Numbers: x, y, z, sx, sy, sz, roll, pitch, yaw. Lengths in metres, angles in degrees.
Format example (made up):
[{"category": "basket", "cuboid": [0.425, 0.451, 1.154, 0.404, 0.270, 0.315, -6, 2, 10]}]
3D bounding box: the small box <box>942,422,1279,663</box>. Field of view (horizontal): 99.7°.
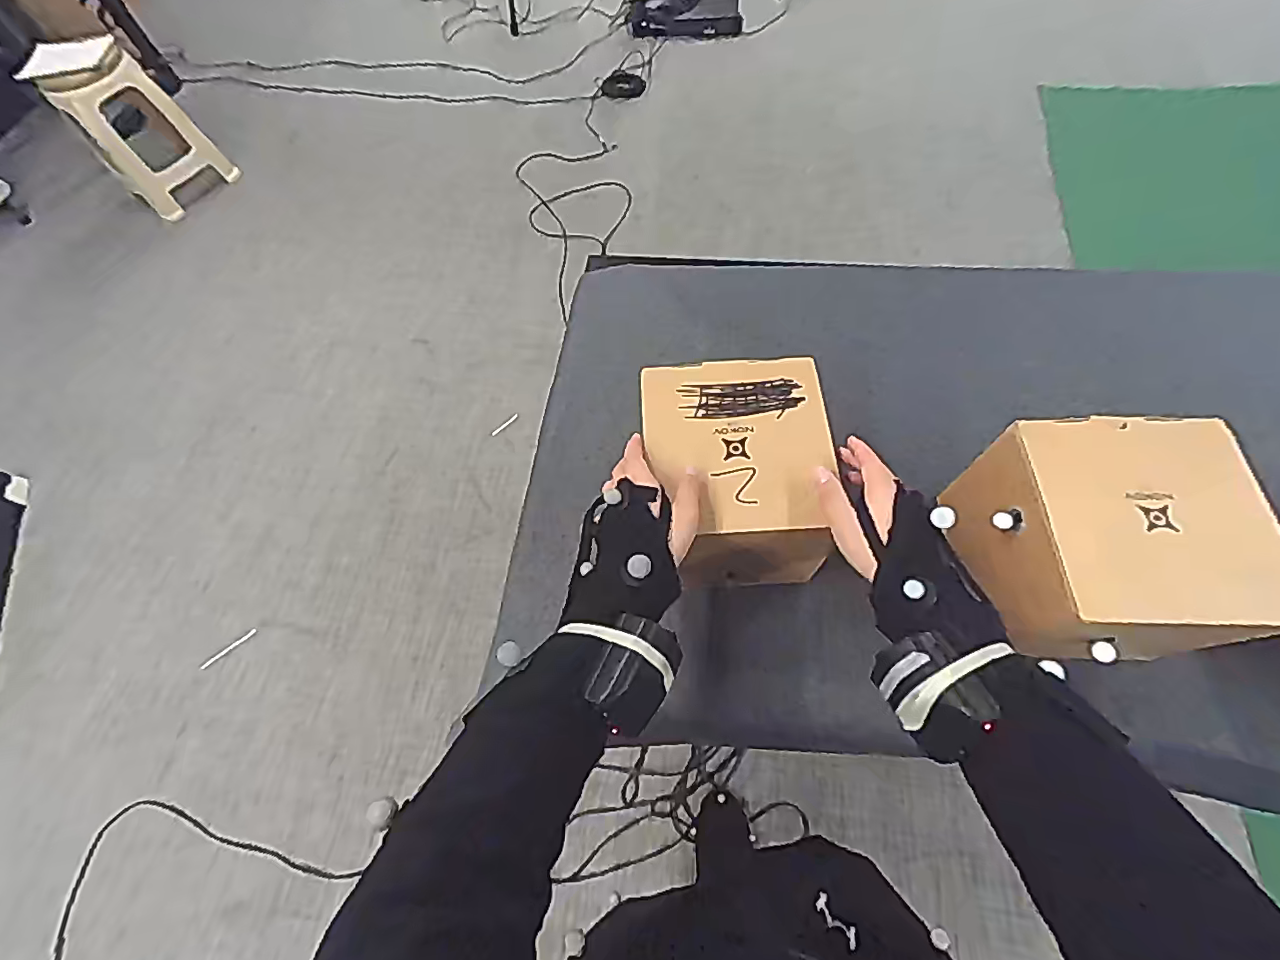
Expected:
[{"category": "small box", "cuboid": [0.406, 0.065, 0.492, 0.168, 0.176, 0.179, 0, 63, 5]}]
